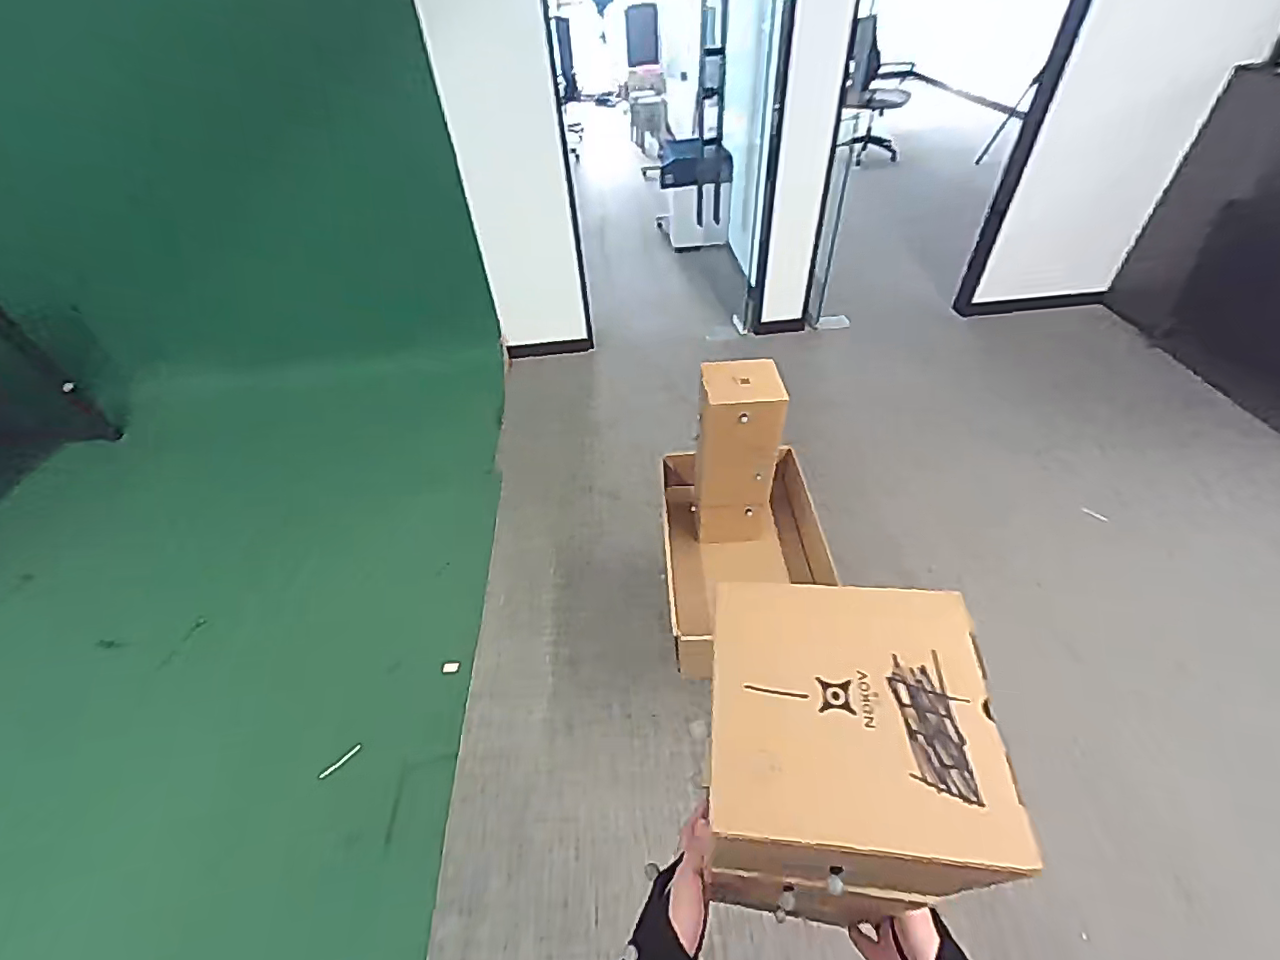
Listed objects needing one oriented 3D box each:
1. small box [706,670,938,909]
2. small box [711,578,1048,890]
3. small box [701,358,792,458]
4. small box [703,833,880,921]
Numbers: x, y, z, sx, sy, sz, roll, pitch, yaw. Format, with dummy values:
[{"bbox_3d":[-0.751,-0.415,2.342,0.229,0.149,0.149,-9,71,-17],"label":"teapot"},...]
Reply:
[{"bbox_3d":[0.159,0.300,0.527,0.179,0.176,0.168,3,50,10],"label":"small box"},{"bbox_3d":[0.146,0.191,0.404,0.179,0.176,0.168,2,50,9],"label":"small box"},{"bbox_3d":[0.242,-0.167,1.274,0.179,0.176,0.168,-3,46,0],"label":"small box"},{"bbox_3d":[0.171,0.408,0.649,0.179,0.176,0.168,5,50,10],"label":"small box"}]
